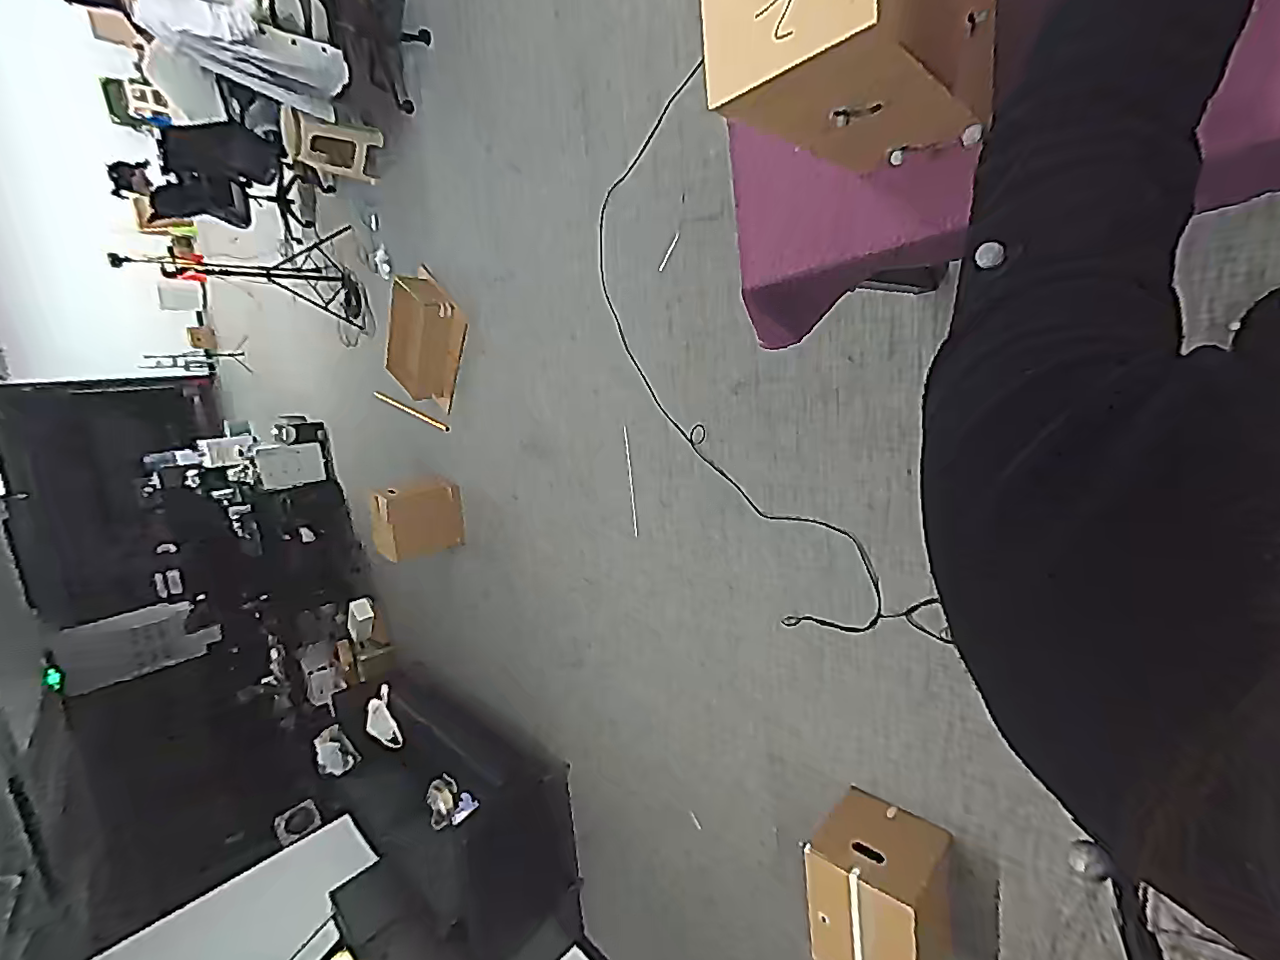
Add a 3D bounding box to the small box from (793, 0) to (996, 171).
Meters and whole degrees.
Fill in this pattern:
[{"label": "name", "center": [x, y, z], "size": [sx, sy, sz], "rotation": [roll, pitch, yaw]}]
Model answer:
[{"label": "small box", "center": [0.293, -0.487, 0.622], "size": [0.168, 0.176, 0.179], "rotation": [6, 106, 45]}]
